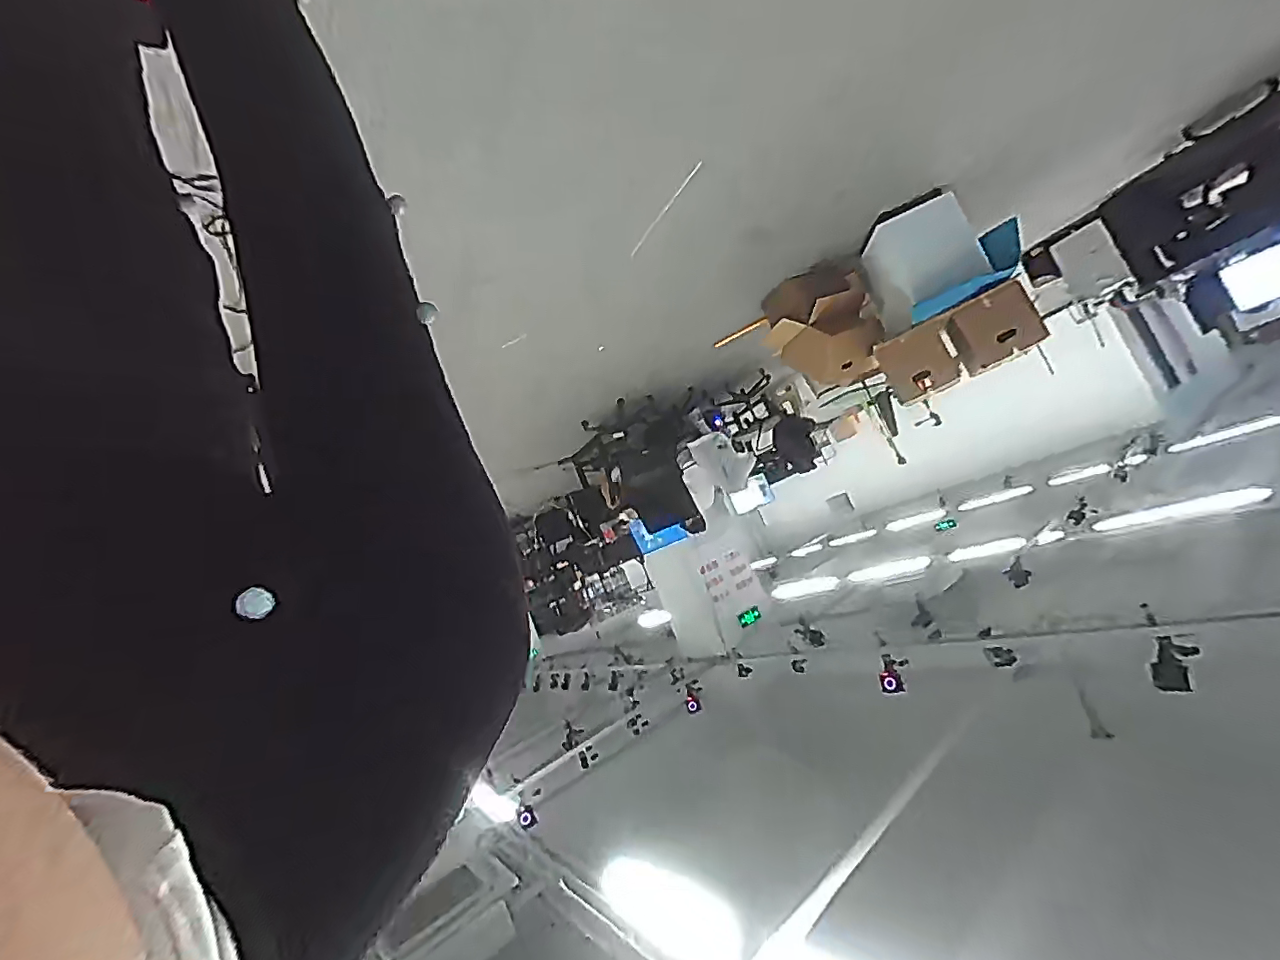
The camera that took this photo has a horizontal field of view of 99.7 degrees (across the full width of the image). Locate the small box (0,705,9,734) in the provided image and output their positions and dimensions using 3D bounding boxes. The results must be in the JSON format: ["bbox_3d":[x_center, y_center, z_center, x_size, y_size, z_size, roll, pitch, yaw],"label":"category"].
[{"bbox_3d":[-2.069,0.723,1.623,0.168,0.176,0.179,-21,174,-37],"label":"small box"}]
